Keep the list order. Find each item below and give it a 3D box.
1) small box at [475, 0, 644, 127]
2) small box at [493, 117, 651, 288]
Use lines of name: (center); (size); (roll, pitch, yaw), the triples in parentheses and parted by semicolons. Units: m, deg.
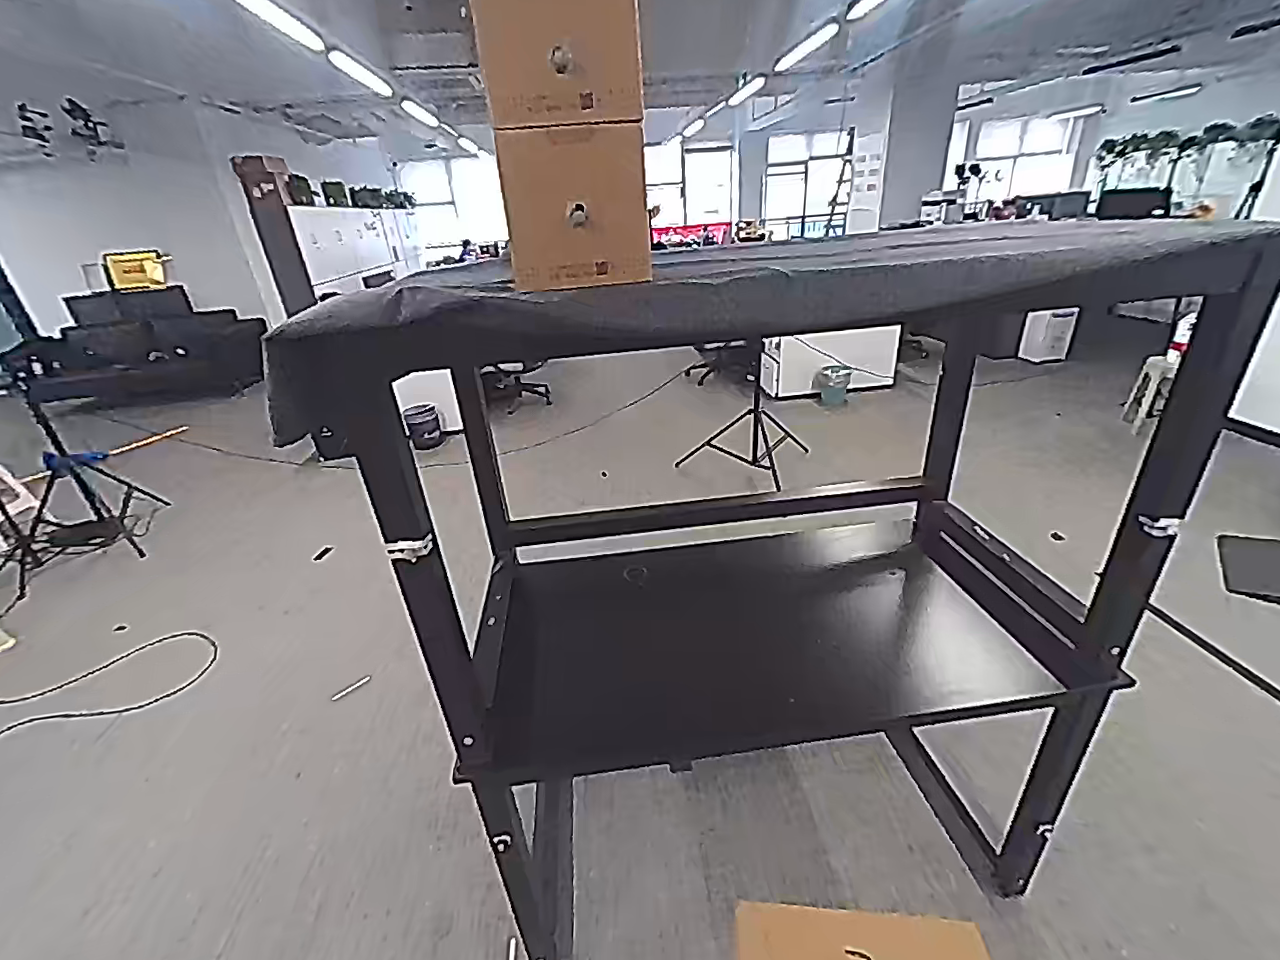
small box: (-0.093, -0.491, 0.615); (0.168, 0.176, 0.179); (-9, 26, -6)
small box: (-0.083, -0.341, 0.683); (0.168, 0.176, 0.179); (-7, 26, -8)
